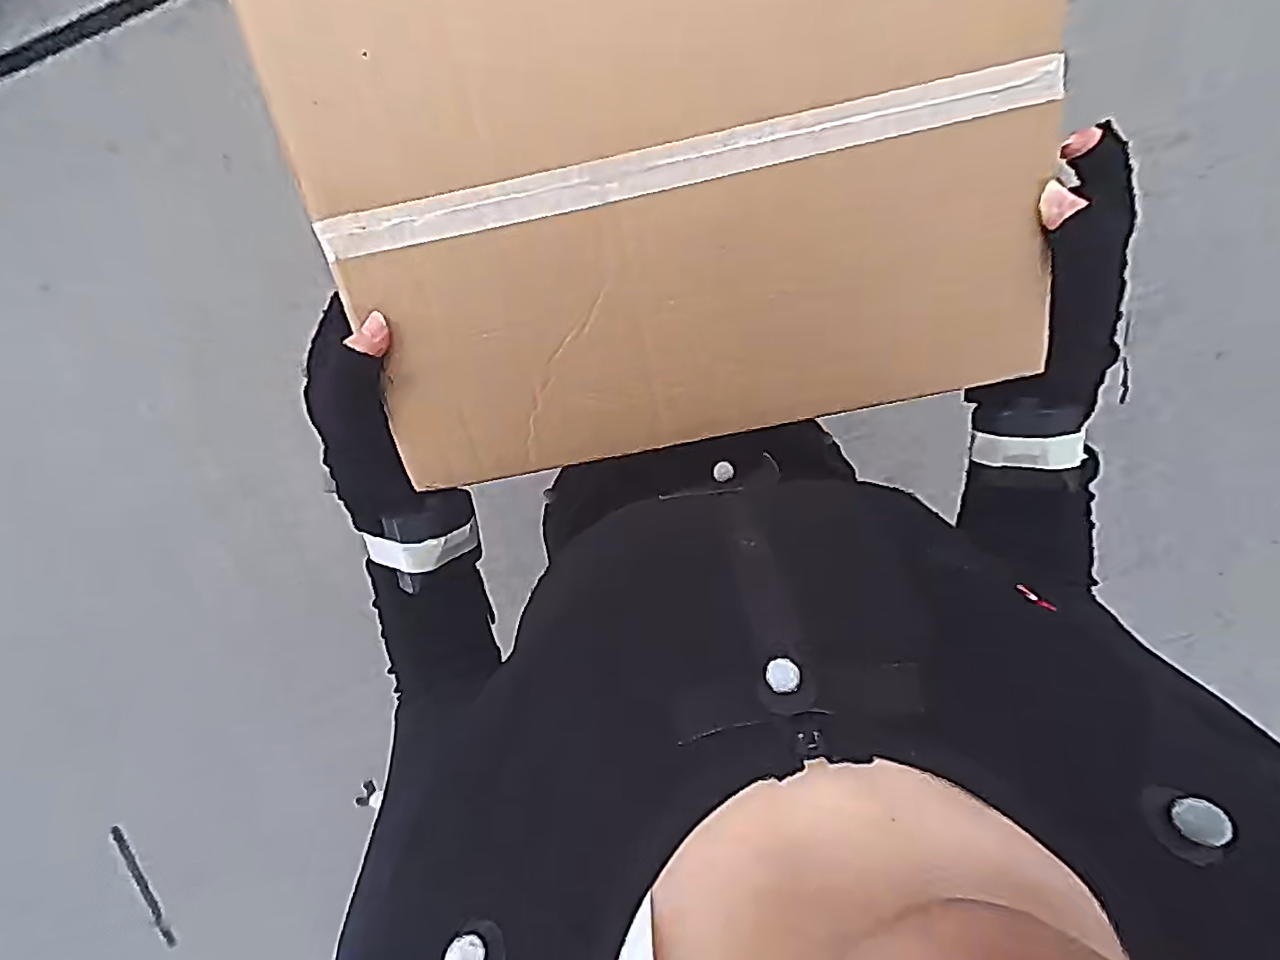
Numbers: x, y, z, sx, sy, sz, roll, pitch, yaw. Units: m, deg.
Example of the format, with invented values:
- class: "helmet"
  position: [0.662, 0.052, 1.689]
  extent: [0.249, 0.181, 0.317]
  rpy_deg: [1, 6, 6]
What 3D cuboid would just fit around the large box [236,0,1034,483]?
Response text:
- class: "large box"
  position: [0.013, -0.229, 0.441]
  extent: [0.408, 0.320, 0.320]
  rpy_deg: [-11, 110, 3]
